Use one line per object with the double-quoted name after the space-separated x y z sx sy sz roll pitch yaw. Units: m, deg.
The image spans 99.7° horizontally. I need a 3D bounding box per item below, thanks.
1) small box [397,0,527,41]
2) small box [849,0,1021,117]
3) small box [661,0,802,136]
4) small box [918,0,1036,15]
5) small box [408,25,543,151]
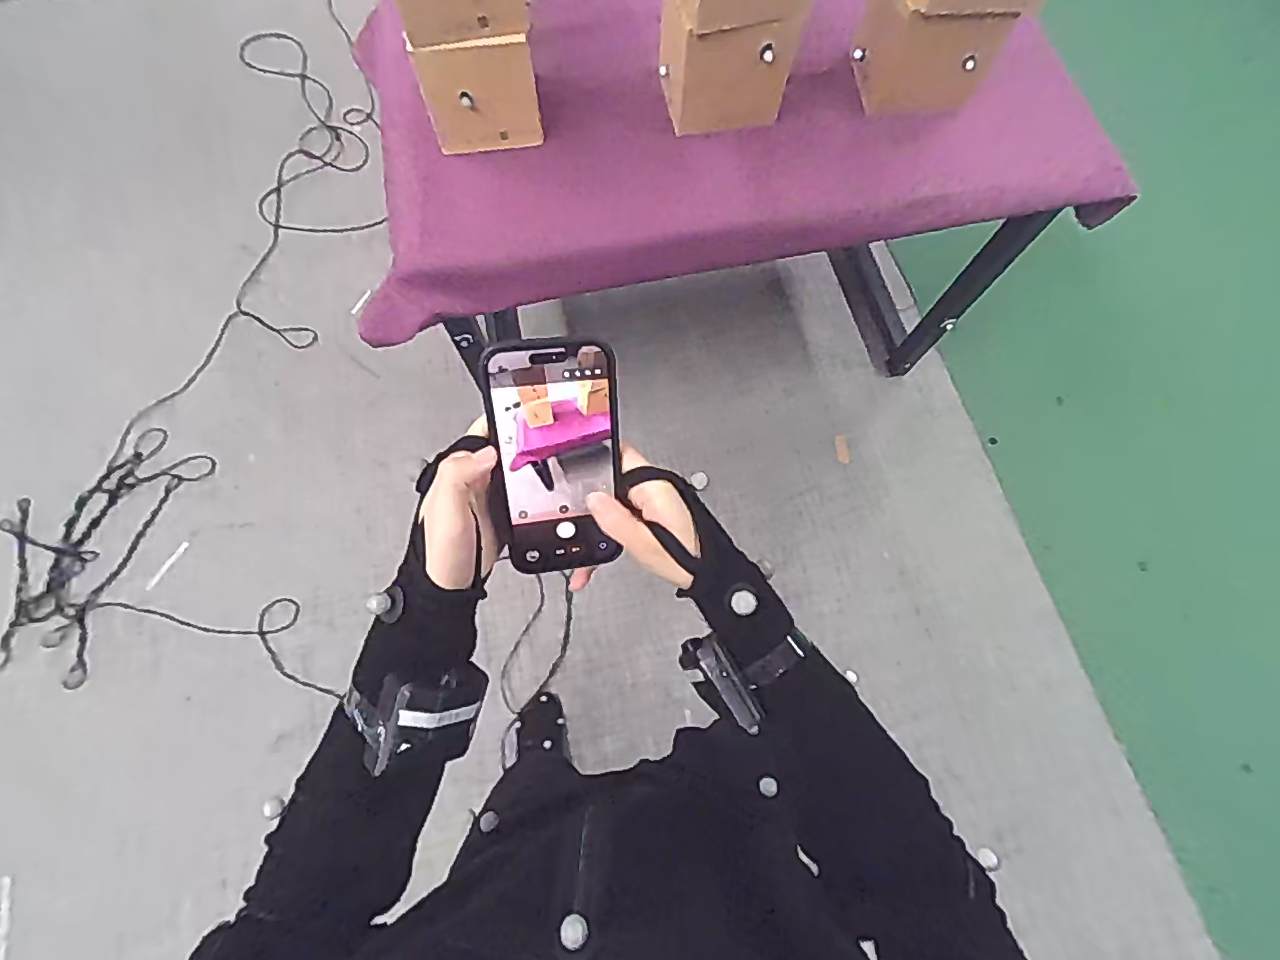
-0.252 -0.711 0.701 0.168 0.176 0.179 -13 73 -6 "small box"
0.473 -0.736 0.894 0.179 0.176 0.168 -3 71 -2 "small box"
0.135 -0.695 0.873 0.179 0.176 0.168 -9 71 -4 "small box"
0.486 -0.776 0.735 0.179 0.176 0.168 -4 71 -3 "small box"
-0.253 -0.651 0.854 0.168 0.176 0.179 -9 72 -4 "small box"
